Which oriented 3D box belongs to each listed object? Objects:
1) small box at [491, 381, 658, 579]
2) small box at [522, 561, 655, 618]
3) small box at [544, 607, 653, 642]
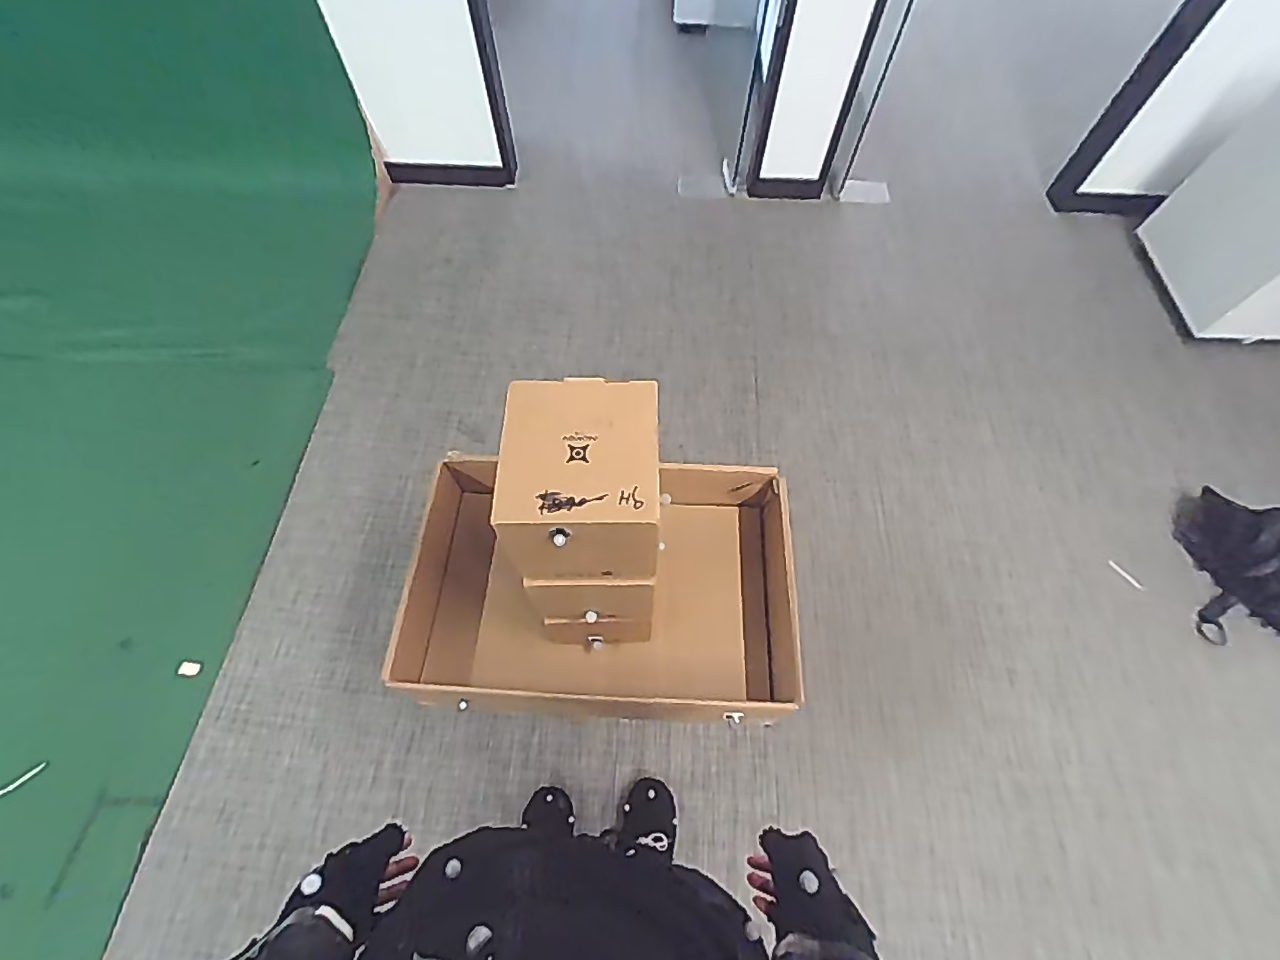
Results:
[{"bbox_3d":[-0.063,0.004,0.635,0.168,0.176,0.179,-1,61,1],"label":"small box"},{"bbox_3d":[-0.063,0.089,0.775,0.168,0.176,0.179,0,62,1],"label":"small box"},{"bbox_3d":[-0.066,0.169,0.918,0.168,0.176,0.179,-2,63,-1],"label":"small box"}]
